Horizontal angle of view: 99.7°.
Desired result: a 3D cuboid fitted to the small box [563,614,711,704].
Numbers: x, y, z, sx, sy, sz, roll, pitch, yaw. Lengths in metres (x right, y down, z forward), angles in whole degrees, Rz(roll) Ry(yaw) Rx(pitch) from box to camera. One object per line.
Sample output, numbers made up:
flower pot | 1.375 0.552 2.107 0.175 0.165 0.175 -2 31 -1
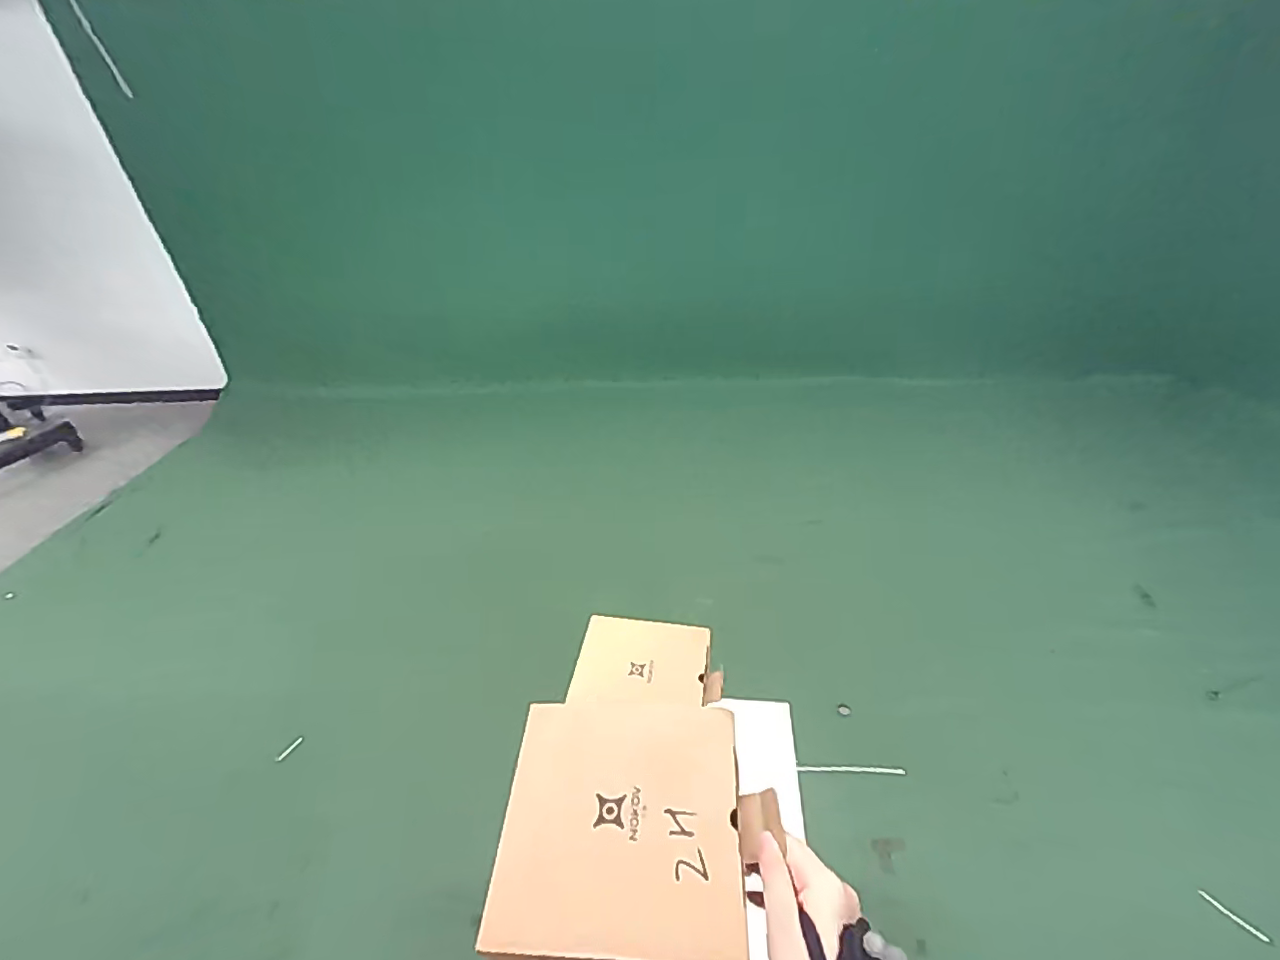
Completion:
small box | 0.003 0.312 0.751 0.179 0.176 0.168 4 36 9

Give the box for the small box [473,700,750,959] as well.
small box | -0.008 0.299 0.439 0.179 0.176 0.168 -1 41 5
